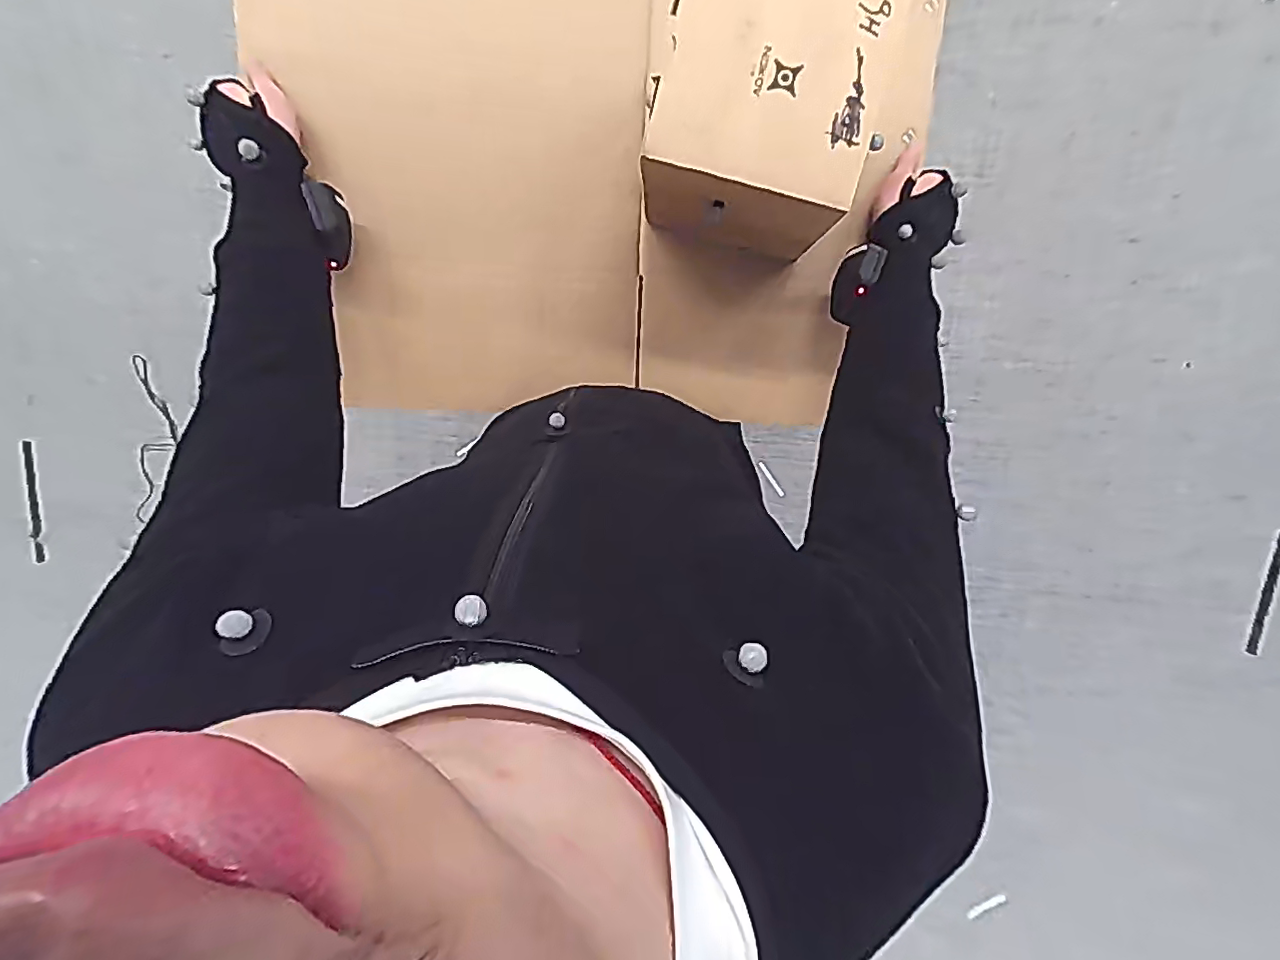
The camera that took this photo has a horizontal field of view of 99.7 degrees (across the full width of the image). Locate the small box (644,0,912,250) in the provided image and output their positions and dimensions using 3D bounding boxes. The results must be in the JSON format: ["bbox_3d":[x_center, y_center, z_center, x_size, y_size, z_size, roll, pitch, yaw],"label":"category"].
[{"bbox_3d":[0.110,-0.332,0.503,0.179,0.176,0.168,15,100,0],"label":"small box"}]
